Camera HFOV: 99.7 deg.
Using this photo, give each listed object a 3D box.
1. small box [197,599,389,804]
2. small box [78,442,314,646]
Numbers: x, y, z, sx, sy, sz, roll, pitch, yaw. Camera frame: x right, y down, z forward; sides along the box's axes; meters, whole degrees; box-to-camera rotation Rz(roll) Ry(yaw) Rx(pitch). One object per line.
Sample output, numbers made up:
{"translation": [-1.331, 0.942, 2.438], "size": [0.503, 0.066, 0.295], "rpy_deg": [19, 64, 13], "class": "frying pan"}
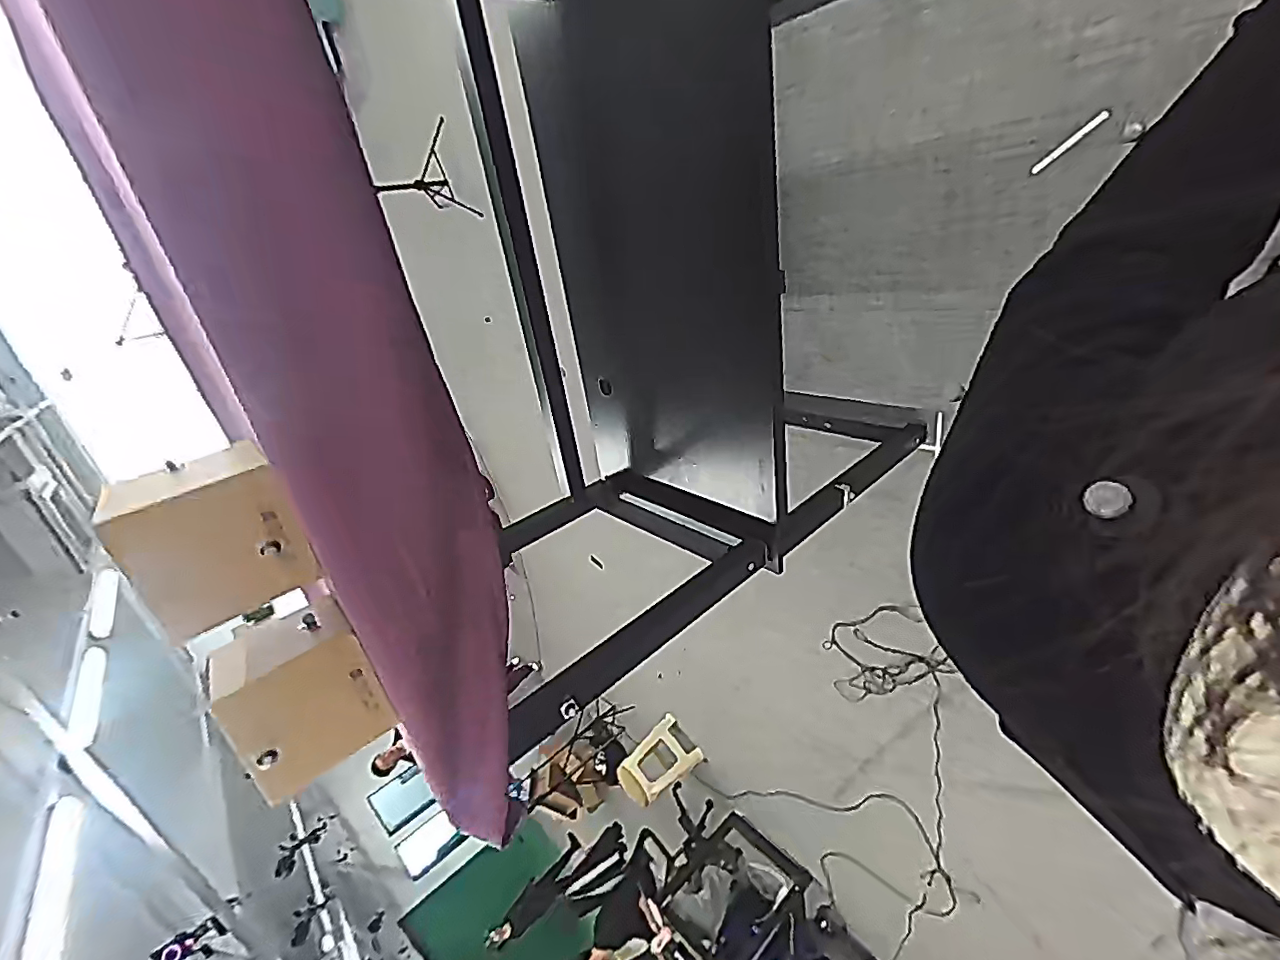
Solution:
{"translation": [-0.476, 0.289, 0.754], "size": [0.179, 0.176, 0.168], "rpy_deg": [10, 122, 51], "class": "small box"}
{"translation": [-0.537, 0.064, 0.675], "size": [0.179, 0.176, 0.168], "rpy_deg": [19, 129, 46], "class": "small box"}
